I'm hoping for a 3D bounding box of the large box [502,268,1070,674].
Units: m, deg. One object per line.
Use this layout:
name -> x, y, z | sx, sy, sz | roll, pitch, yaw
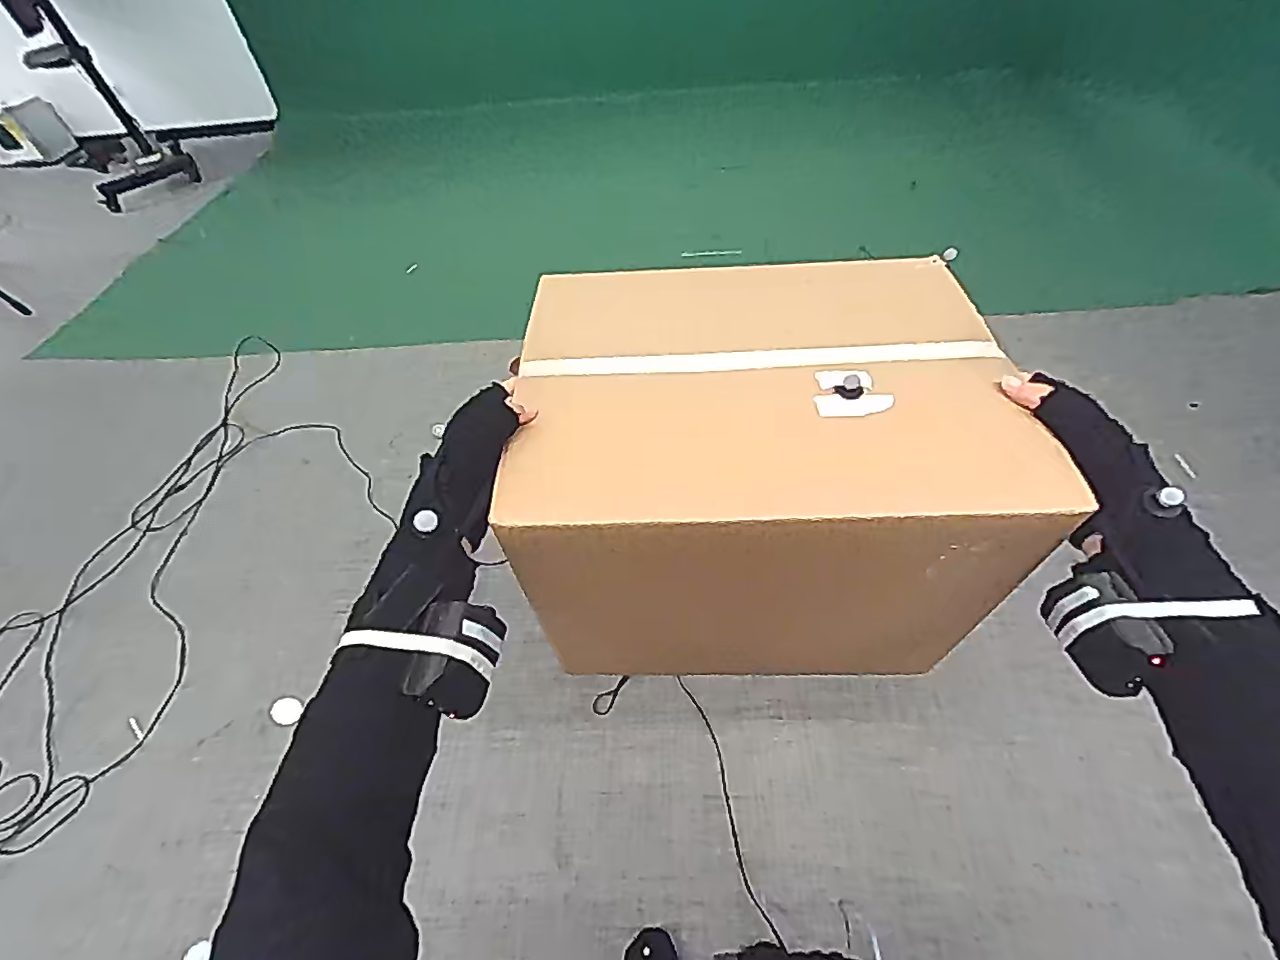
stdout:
large box -> 0.103, 0.002, 0.582 | 0.408, 0.320, 0.320 | -2, 52, 3
